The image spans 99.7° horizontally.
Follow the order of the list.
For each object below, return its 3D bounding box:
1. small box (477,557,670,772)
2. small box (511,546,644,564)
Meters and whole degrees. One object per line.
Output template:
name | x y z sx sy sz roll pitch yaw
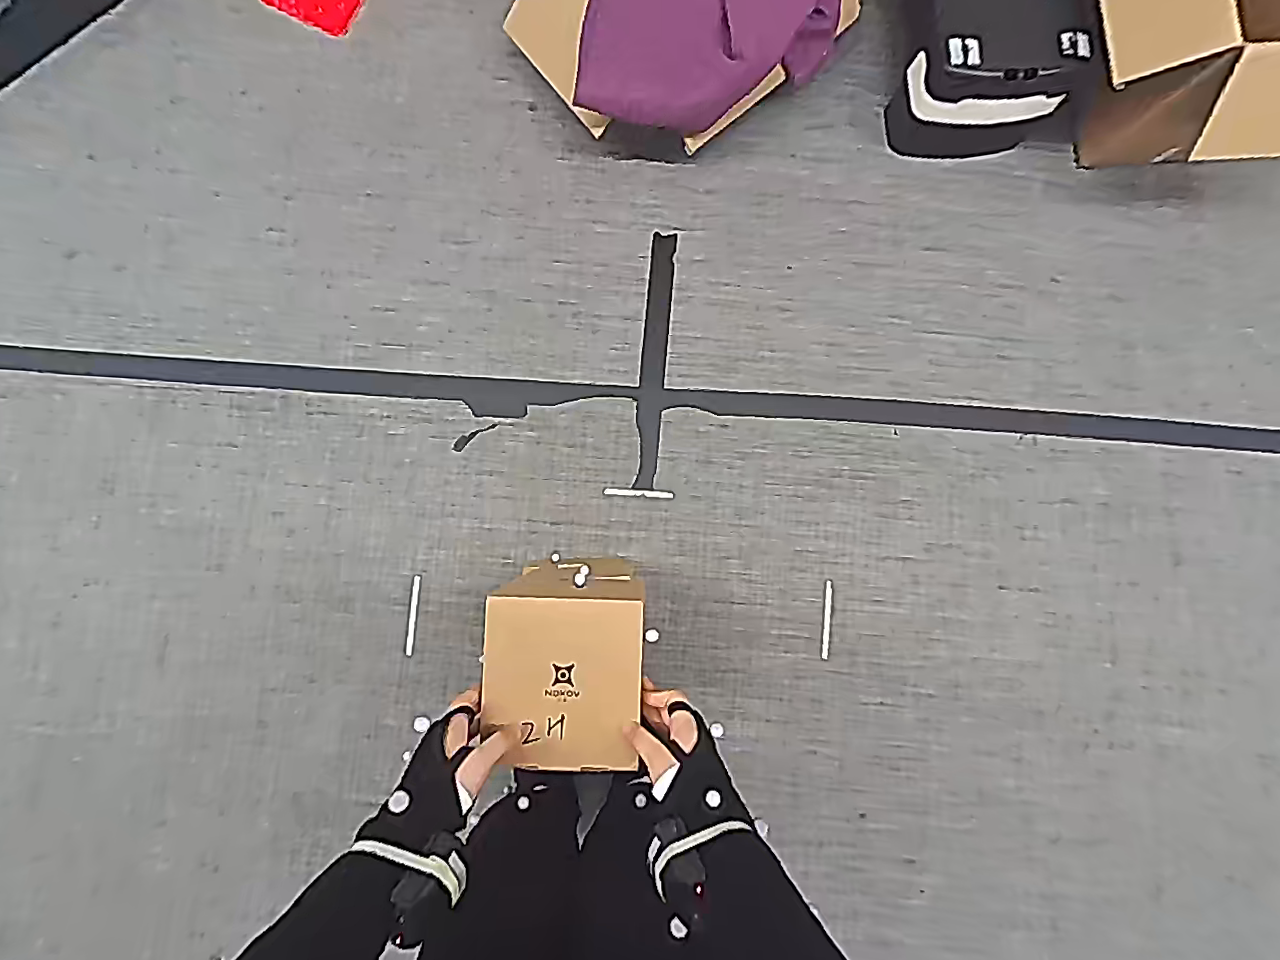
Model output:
small box | -0.059 0.172 0.558 0.168 0.176 0.179 1 86 0
small box | -0.072 0.185 0.724 0.168 0.176 0.179 -3 87 -1
